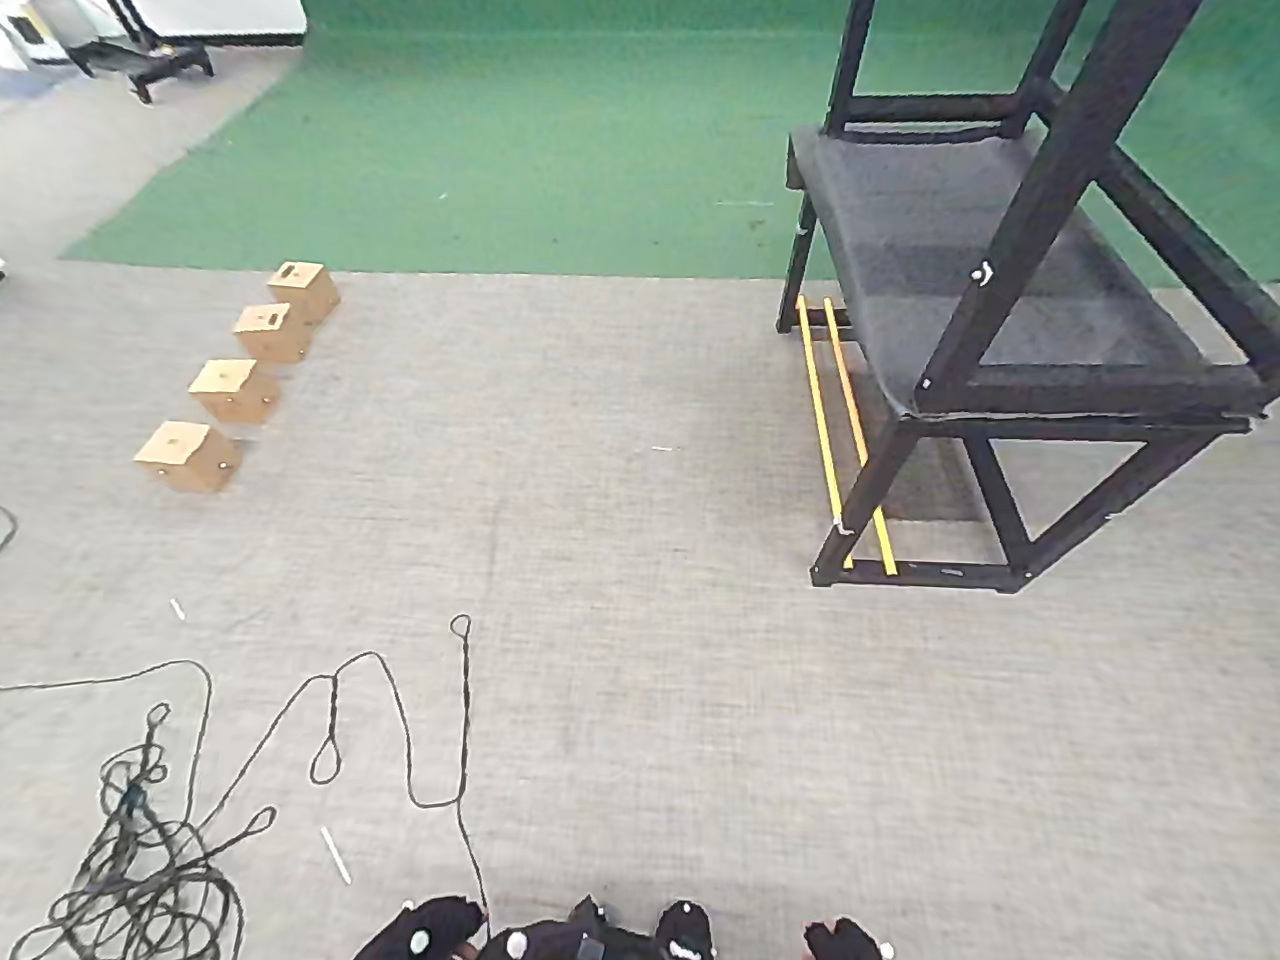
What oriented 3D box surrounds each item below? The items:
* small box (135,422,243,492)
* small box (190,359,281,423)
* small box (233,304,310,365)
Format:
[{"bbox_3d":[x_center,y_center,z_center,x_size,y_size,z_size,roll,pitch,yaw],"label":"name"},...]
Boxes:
[{"bbox_3d":[-1.490,-0.074,1.799,0.179,0.176,0.168,5,56,5],"label":"small box"},{"bbox_3d":[-1.471,-0.322,1.977,0.179,0.176,0.168,0,55,1],"label":"small box"},{"bbox_3d":[-1.464,-0.581,2.161,0.179,0.176,0.168,-5,54,-1],"label":"small box"}]
